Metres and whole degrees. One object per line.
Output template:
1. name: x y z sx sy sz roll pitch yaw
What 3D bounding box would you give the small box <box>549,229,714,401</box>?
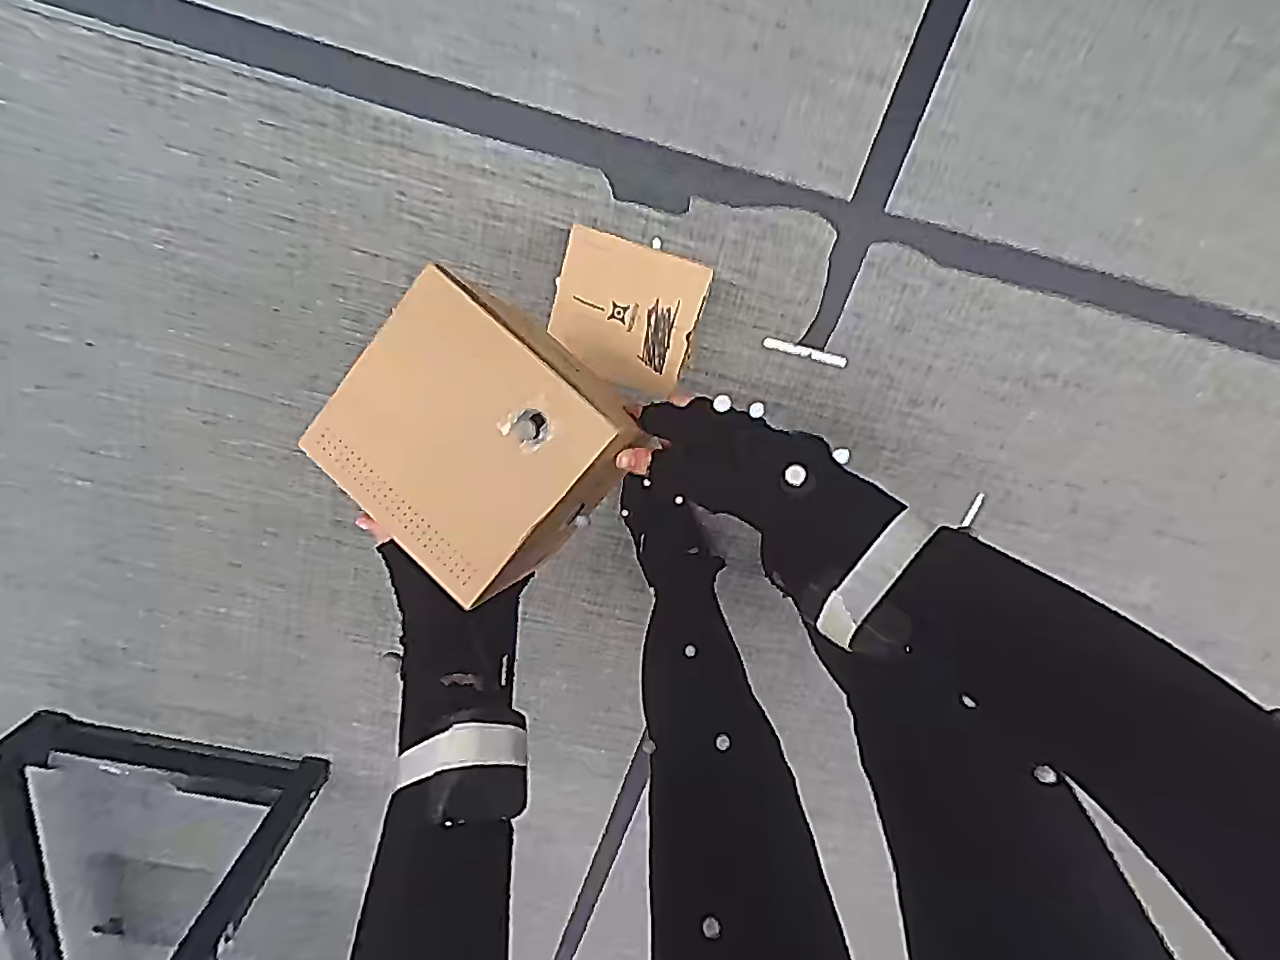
1. small box: -0.017 -0.227 0.735 0.179 0.176 0.168 16 111 -6

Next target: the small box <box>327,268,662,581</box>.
1. small box: -0.109 -0.033 0.456 0.179 0.168 0.176 42 97 7
